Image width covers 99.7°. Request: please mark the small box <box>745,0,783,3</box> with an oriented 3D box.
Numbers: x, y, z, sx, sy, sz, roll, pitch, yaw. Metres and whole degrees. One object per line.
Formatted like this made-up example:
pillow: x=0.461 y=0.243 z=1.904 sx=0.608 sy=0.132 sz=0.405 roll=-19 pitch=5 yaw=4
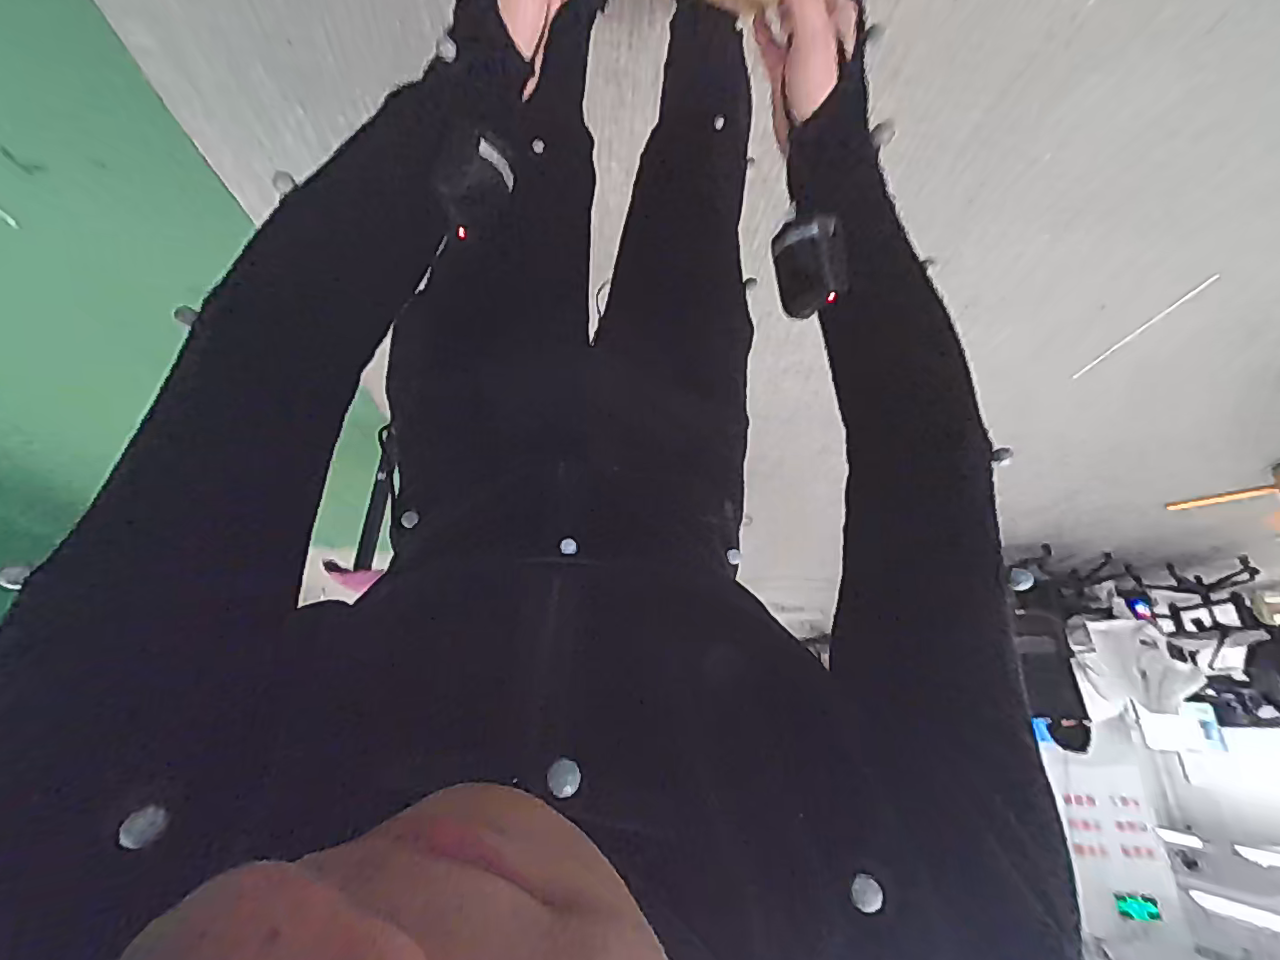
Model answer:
small box: x=0.054 y=-0.457 z=0.357 sx=0.168 sy=0.176 sz=0.179 roll=16 pitch=130 yaw=-9
